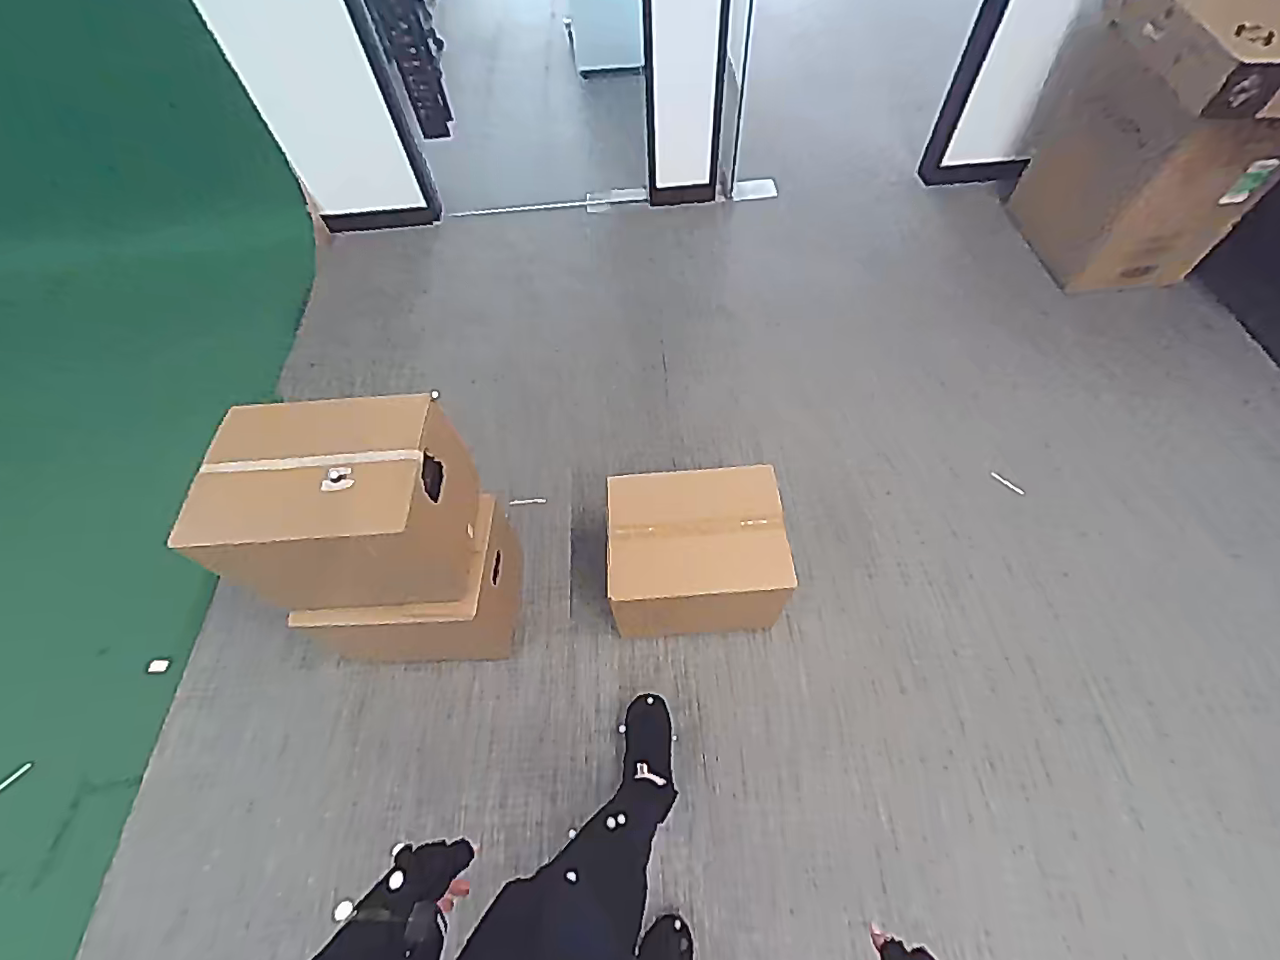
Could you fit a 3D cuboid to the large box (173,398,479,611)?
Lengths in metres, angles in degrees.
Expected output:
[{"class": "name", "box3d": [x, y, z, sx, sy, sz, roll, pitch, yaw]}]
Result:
[{"class": "large box", "box3d": [-0.586, 0.057, 1.107, 0.408, 0.320, 0.320, -3, 55, 0]}]
